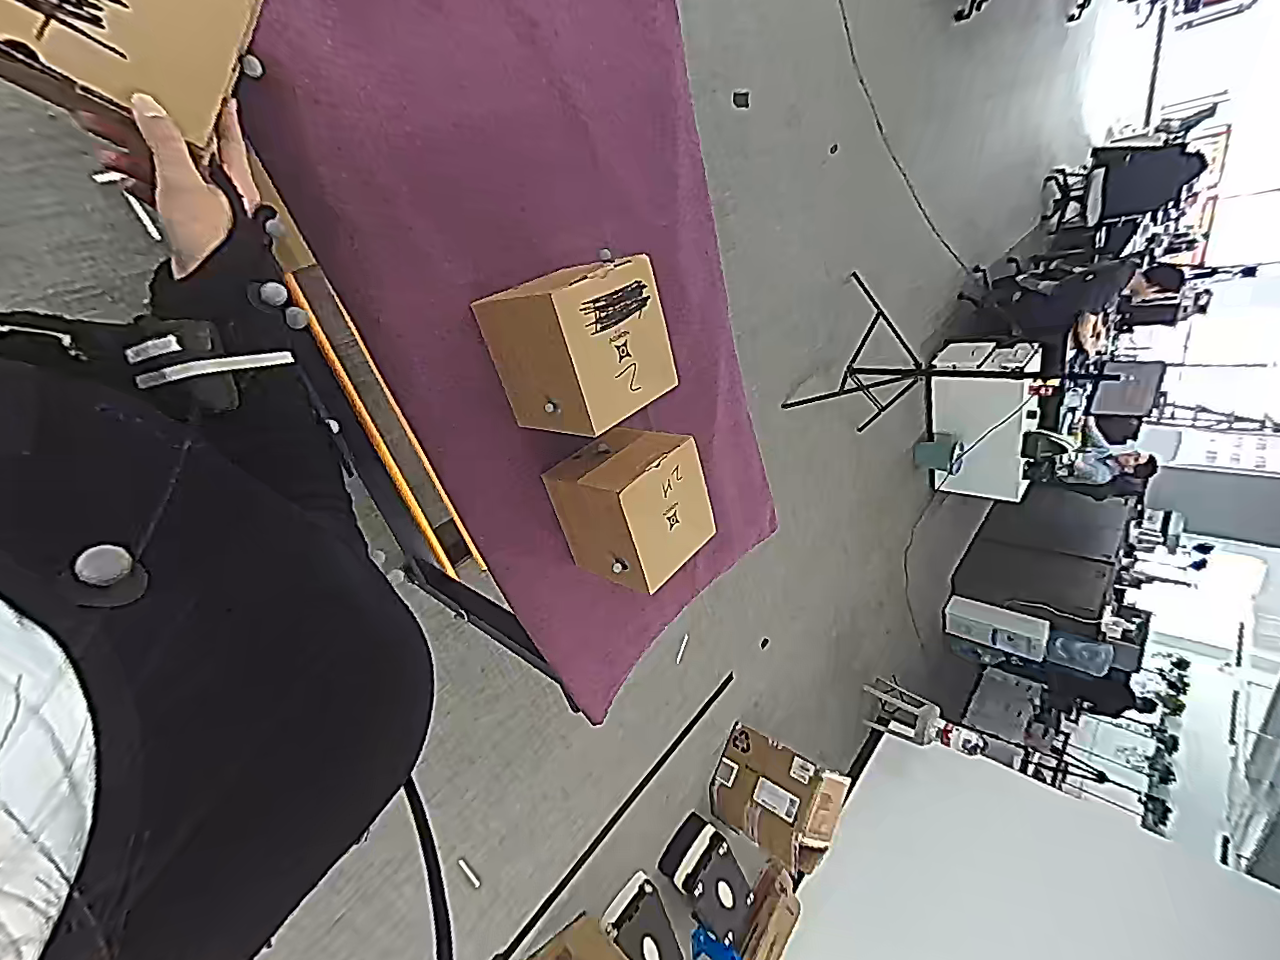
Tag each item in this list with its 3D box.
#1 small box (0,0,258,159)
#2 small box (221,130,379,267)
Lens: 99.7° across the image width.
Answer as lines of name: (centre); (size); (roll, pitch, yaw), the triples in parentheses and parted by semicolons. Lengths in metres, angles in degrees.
small box: (-0.351, -0.337, 0.341); (0.168, 0.176, 0.179); (18, 96, -44)
small box: (-0.620, -0.504, 0.989); (0.168, 0.176, 0.179); (-40, 124, -30)
